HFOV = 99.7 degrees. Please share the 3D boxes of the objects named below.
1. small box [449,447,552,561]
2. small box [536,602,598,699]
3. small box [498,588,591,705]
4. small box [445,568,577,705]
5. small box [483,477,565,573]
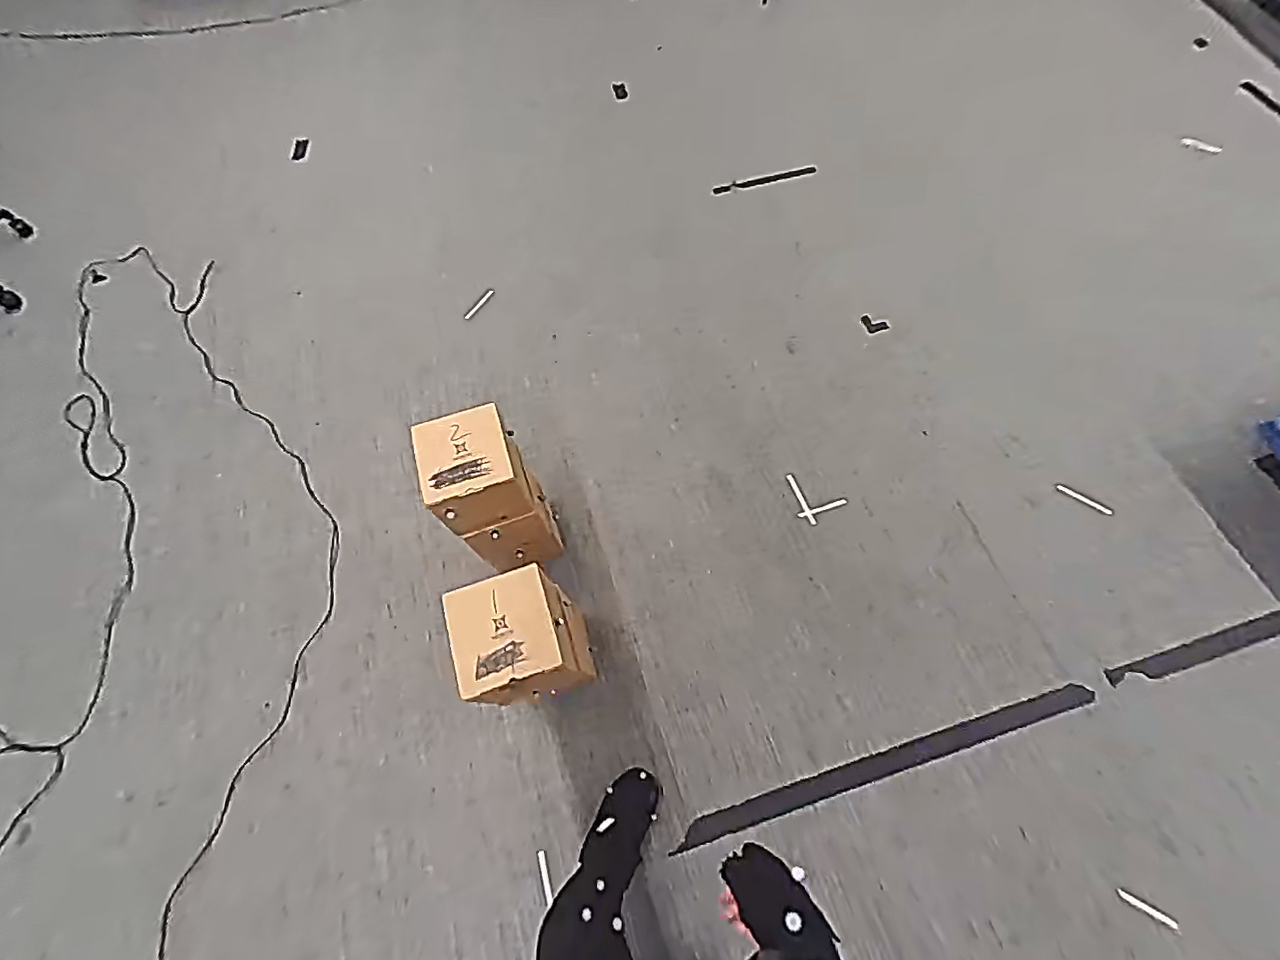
[{"bbox_3d":[-0.308,0.059,1.216,0.168,0.176,0.179,-19,66,-6],"label":"small box"},{"bbox_3d":[-0.204,0.398,1.242,0.179,0.176,0.168,-15,67,-5],"label":"small box"},{"bbox_3d":[-0.206,0.339,1.091,0.168,0.176,0.179,-19,67,-6],"label":"small box"},{"bbox_3d":[-0.217,0.276,0.939,0.168,0.176,0.179,-18,66,-6],"label":"small box"},{"bbox_3d":[-0.303,0.120,1.368,0.179,0.176,0.168,-18,67,-7],"label":"small box"}]
